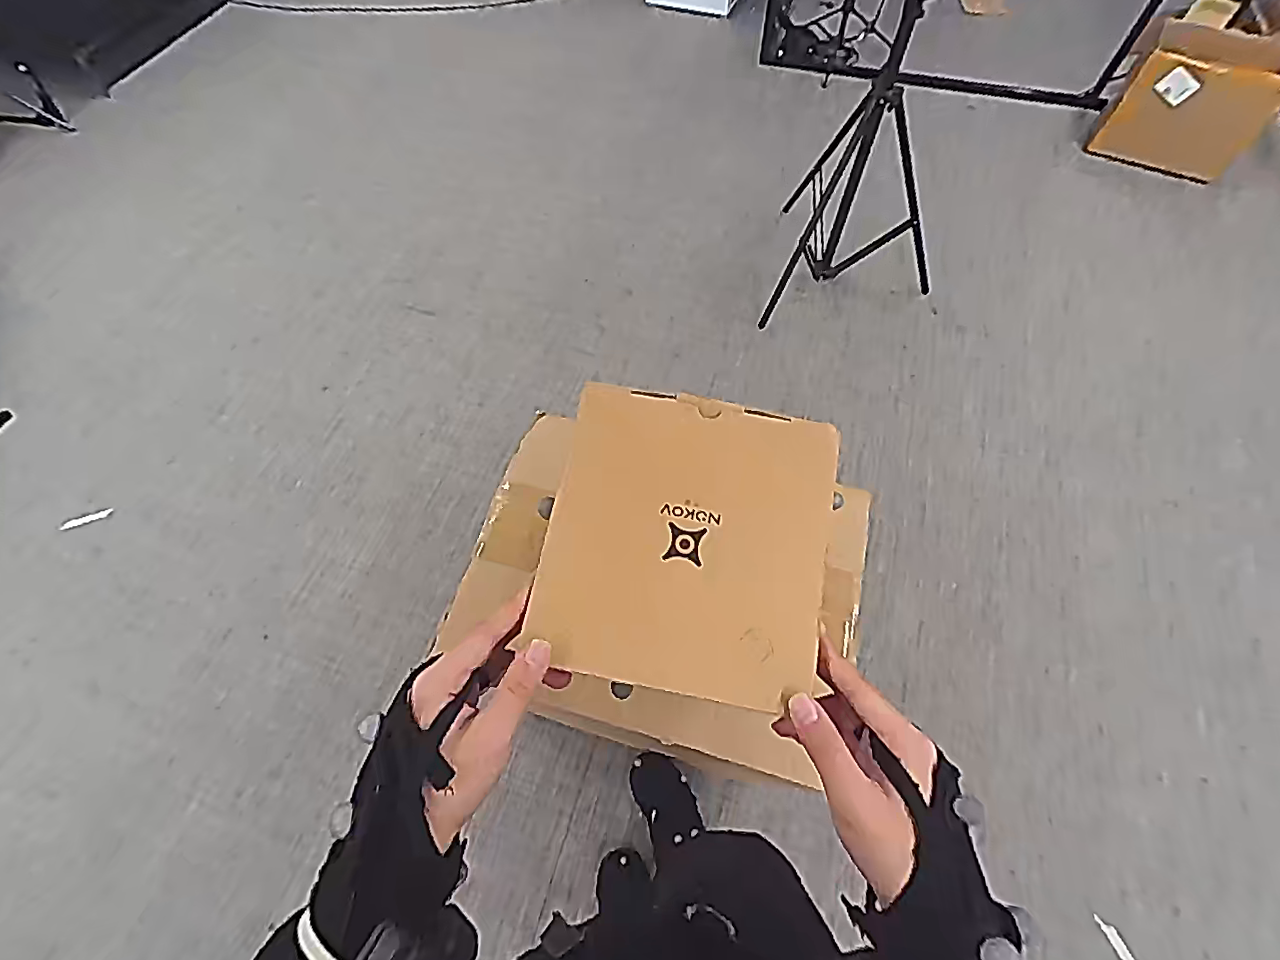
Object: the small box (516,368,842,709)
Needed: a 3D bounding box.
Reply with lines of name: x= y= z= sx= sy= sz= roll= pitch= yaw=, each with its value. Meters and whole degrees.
small box: x=0.029 y=0.048 z=0.388 sx=0.168 sy=0.176 sz=0.179 roll=10 pitch=73 yaw=4
